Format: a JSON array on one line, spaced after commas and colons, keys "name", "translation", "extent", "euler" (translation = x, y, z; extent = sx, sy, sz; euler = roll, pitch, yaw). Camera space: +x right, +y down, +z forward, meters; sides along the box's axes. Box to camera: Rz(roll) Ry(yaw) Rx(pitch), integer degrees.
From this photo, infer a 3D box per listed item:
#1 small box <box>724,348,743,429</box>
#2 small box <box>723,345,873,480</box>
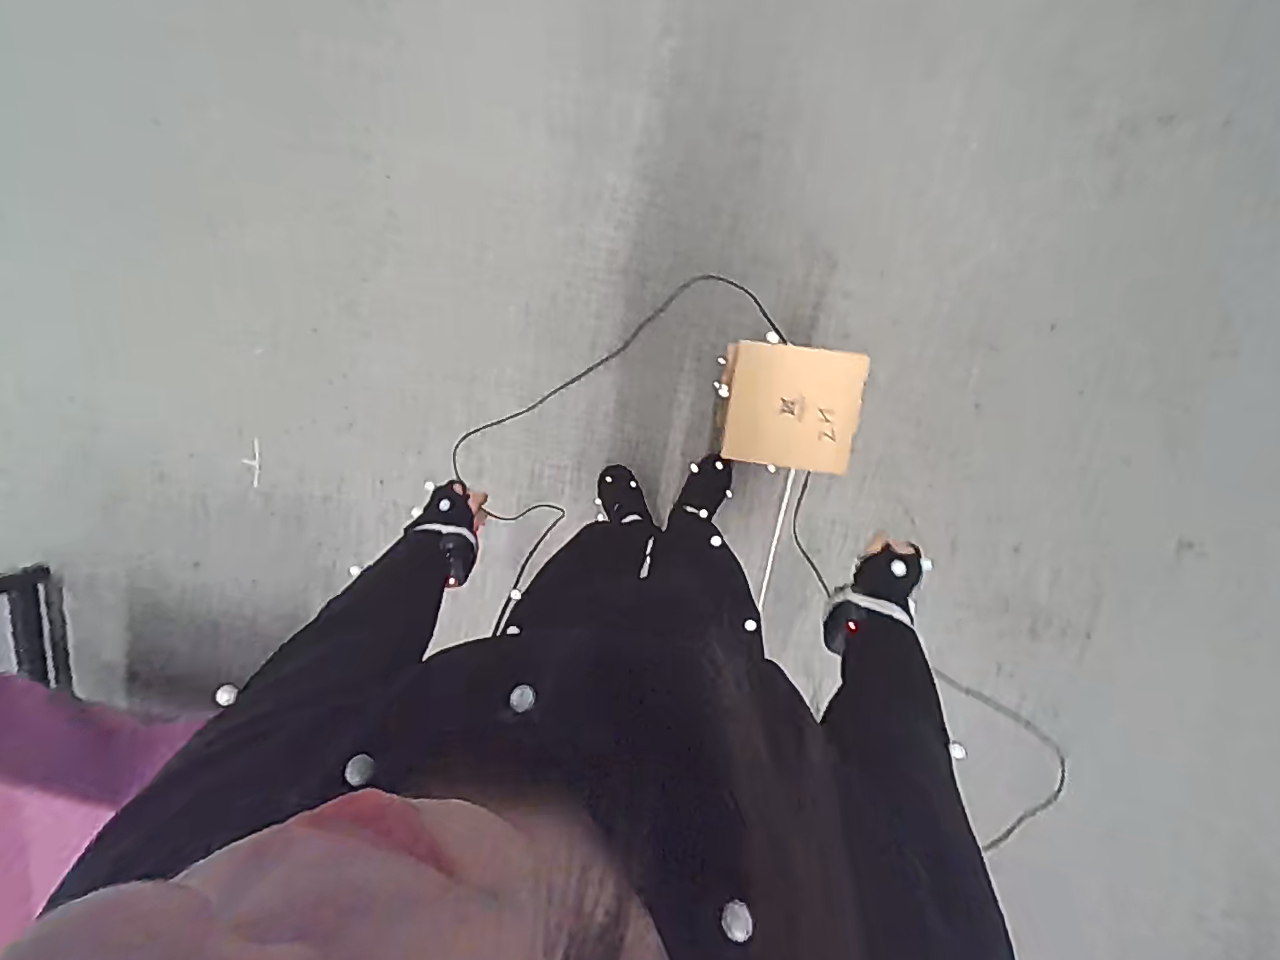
[{"name": "small box", "translation": [0.276, -0.180, 1.140], "extent": [0.179, 0.176, 0.168], "euler": [8, 102, 6]}, {"name": "small box", "translation": [0.228, -0.105, 0.824], "extent": [0.179, 0.176, 0.168], "euler": [10, 102, 7]}]
